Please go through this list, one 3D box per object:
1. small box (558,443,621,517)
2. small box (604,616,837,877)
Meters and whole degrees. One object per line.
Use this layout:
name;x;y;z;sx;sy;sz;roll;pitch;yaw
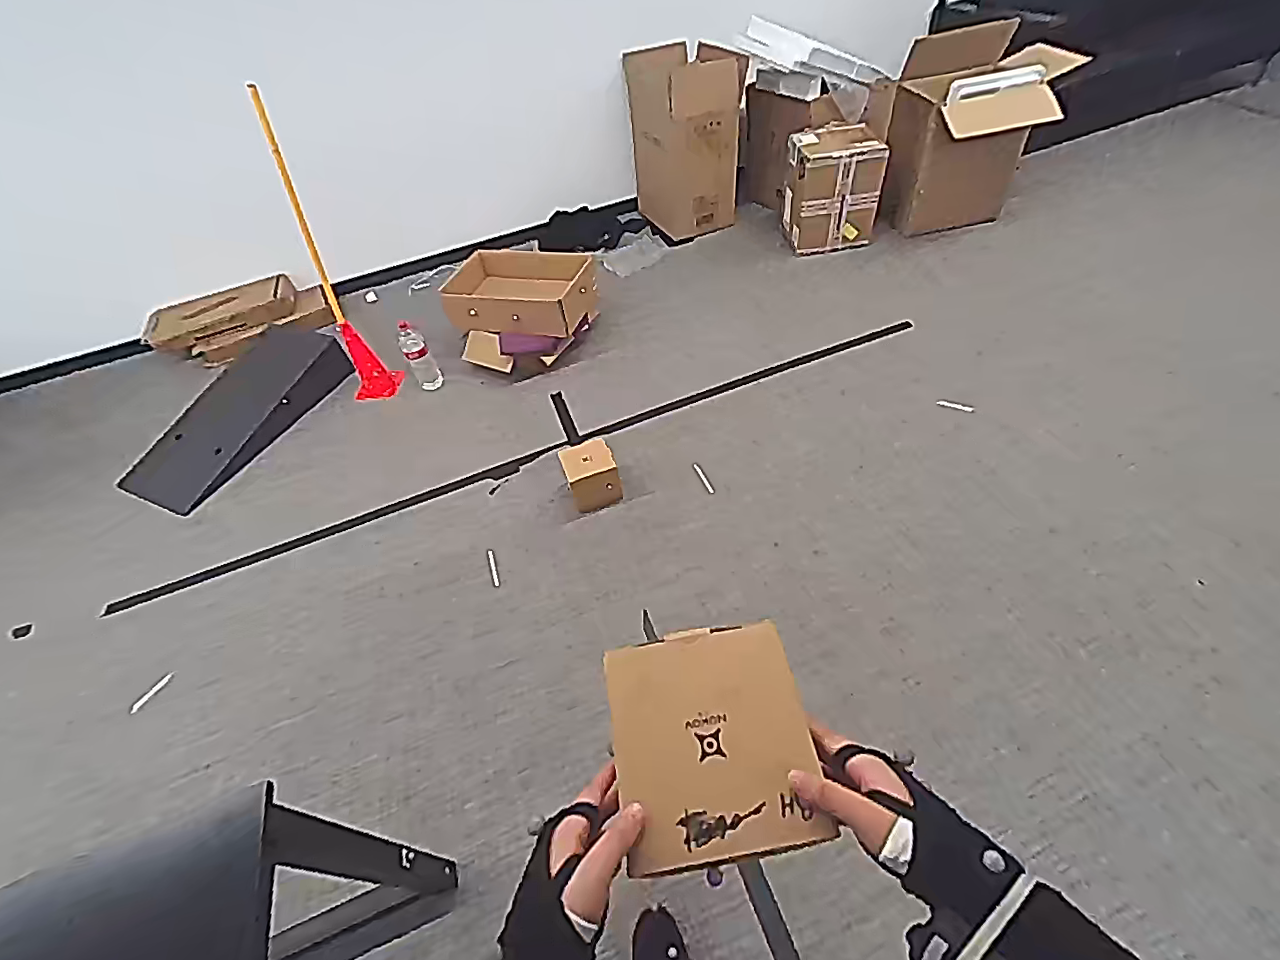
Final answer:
small box;-0.175;0.002;1.946;0.179;0.176;0.168;-21;48;-8
small box;0.065;0.259;0.522;0.168;0.176;0.179;-12;51;-1
